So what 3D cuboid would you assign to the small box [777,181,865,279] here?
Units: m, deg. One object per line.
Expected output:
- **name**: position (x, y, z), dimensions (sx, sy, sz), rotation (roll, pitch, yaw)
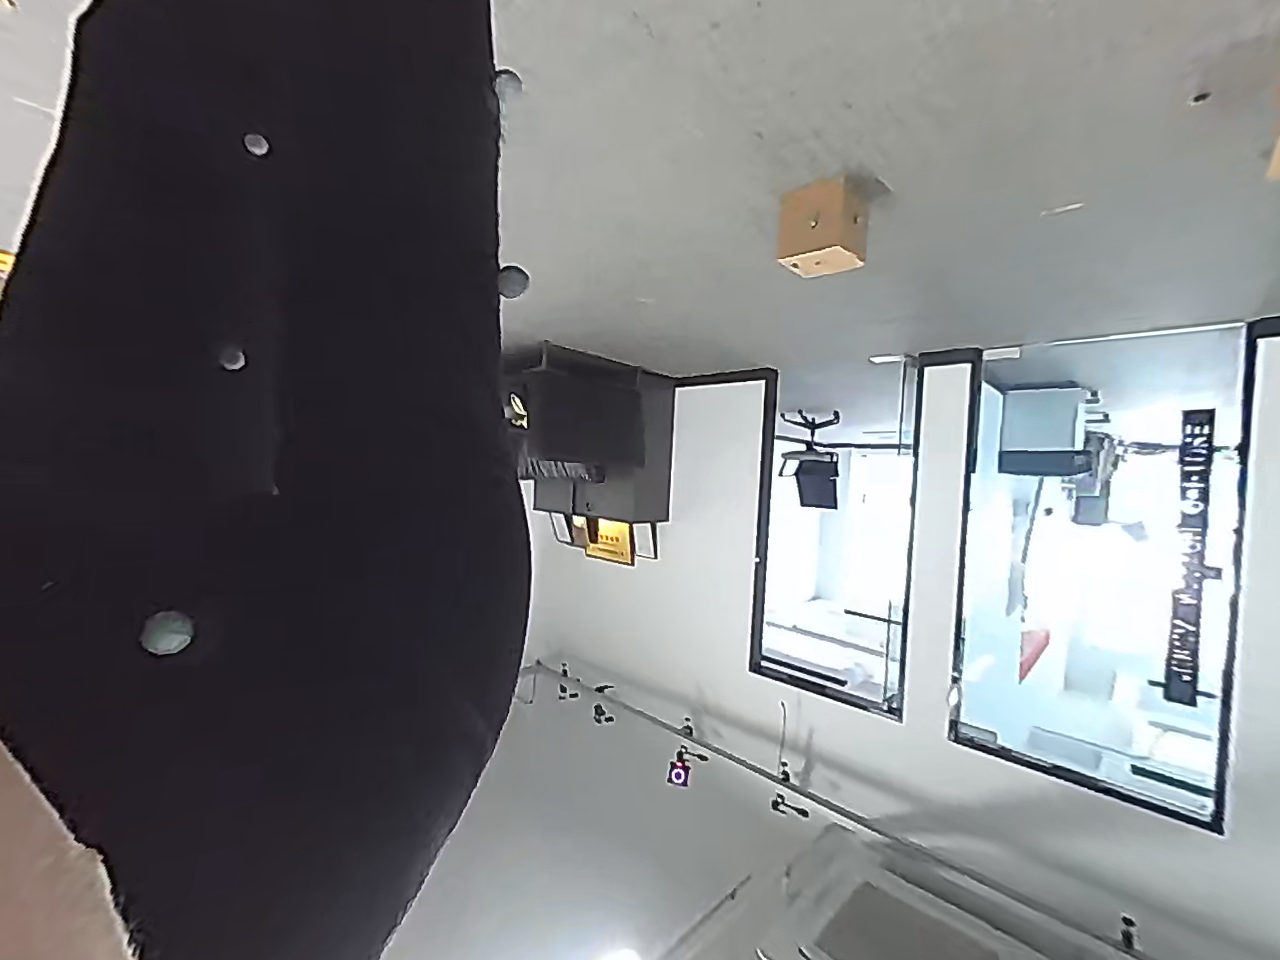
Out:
- **small box**: position (0.474, -0.647, 1.410), dimensions (0.179, 0.176, 0.168), rotation (3, -179, 43)
